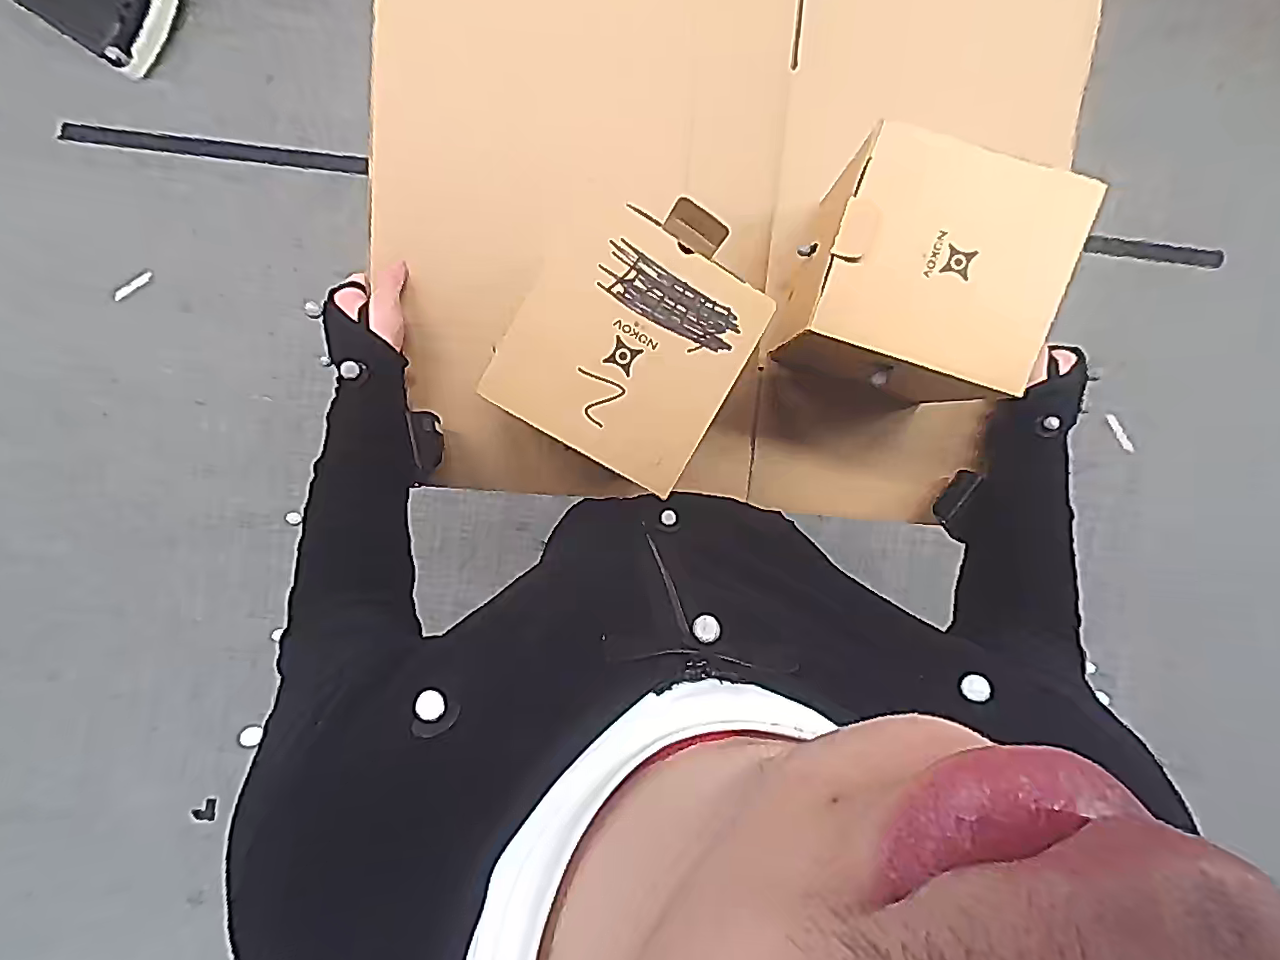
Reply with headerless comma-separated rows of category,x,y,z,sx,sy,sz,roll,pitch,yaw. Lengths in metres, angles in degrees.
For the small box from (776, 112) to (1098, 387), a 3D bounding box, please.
small box,0.246,-0.189,0.500,0.179,0.176,0.168,18,98,2
